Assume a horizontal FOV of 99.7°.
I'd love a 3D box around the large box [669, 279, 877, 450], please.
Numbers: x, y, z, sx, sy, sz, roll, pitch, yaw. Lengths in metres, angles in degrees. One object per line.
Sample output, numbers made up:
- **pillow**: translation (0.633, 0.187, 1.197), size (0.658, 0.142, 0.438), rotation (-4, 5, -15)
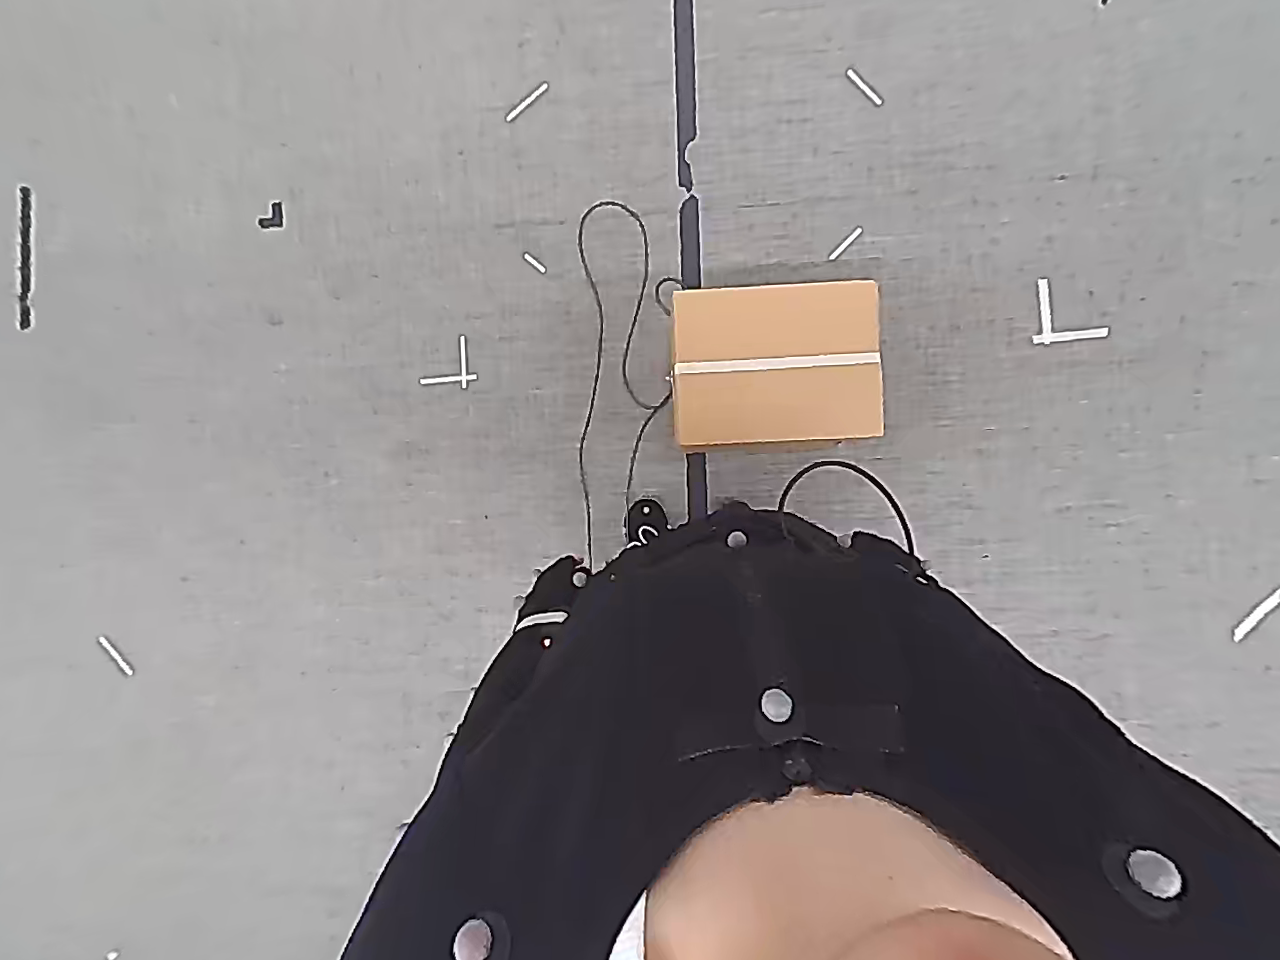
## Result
- **large box**: translation (0.275, -0.237, 1.230), size (0.408, 0.320, 0.320), rotation (-3, 89, 3)
